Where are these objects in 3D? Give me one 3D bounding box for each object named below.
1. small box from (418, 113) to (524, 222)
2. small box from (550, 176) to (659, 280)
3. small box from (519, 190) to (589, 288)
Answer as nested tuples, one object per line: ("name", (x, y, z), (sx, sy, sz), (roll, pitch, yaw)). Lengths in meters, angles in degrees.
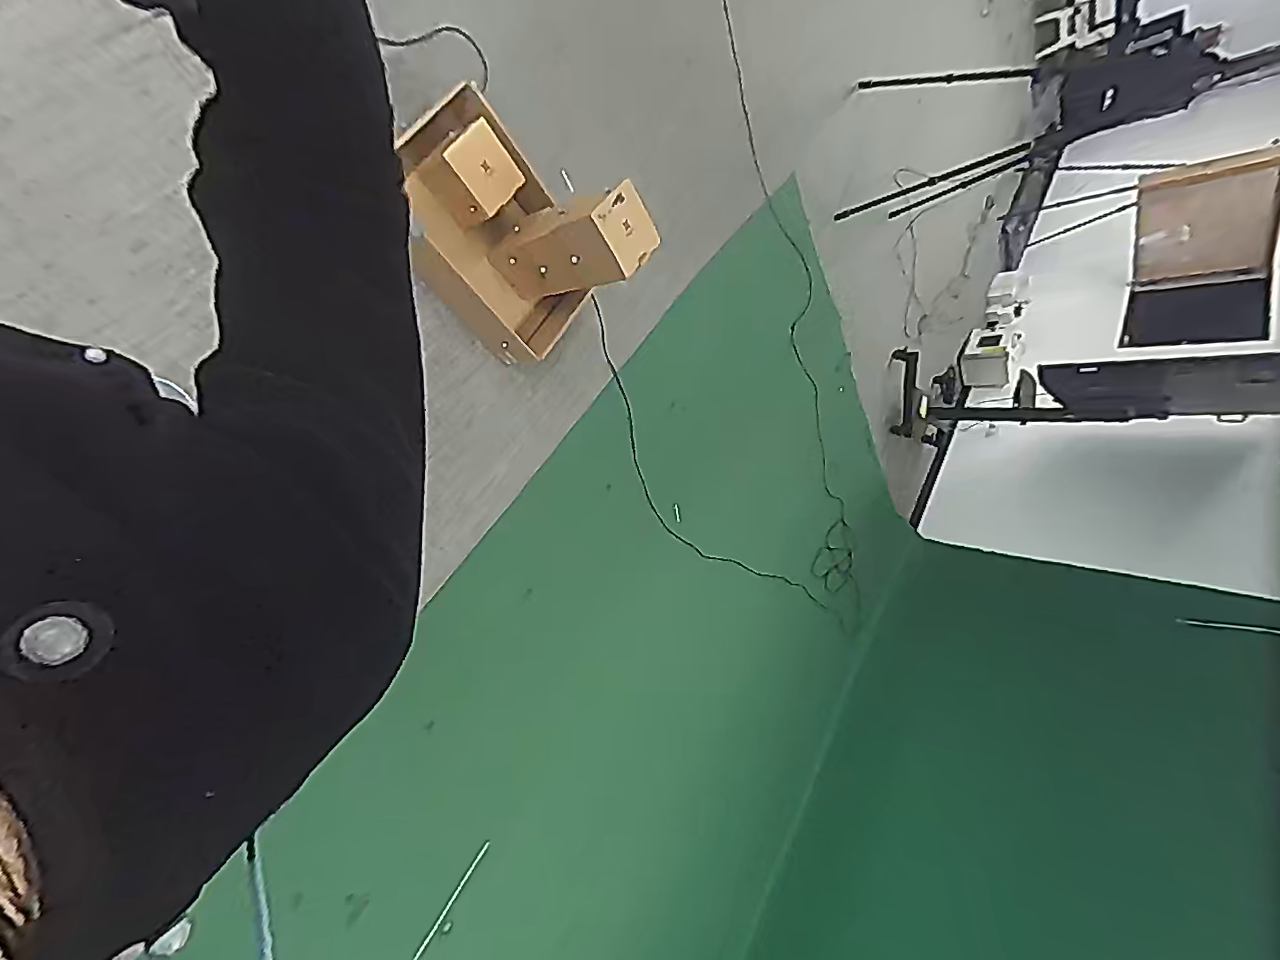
("small box", (-0.452, -0.820, 1.437), (0.179, 0.176, 0.168), (49, 64, -40))
("small box", (-0.090, -0.626, 1.364), (0.168, 0.176, 0.179), (-55, 130, -24))
("small box", (-0.199, -0.655, 1.486), (0.168, 0.176, 0.179), (50, 63, -37))
